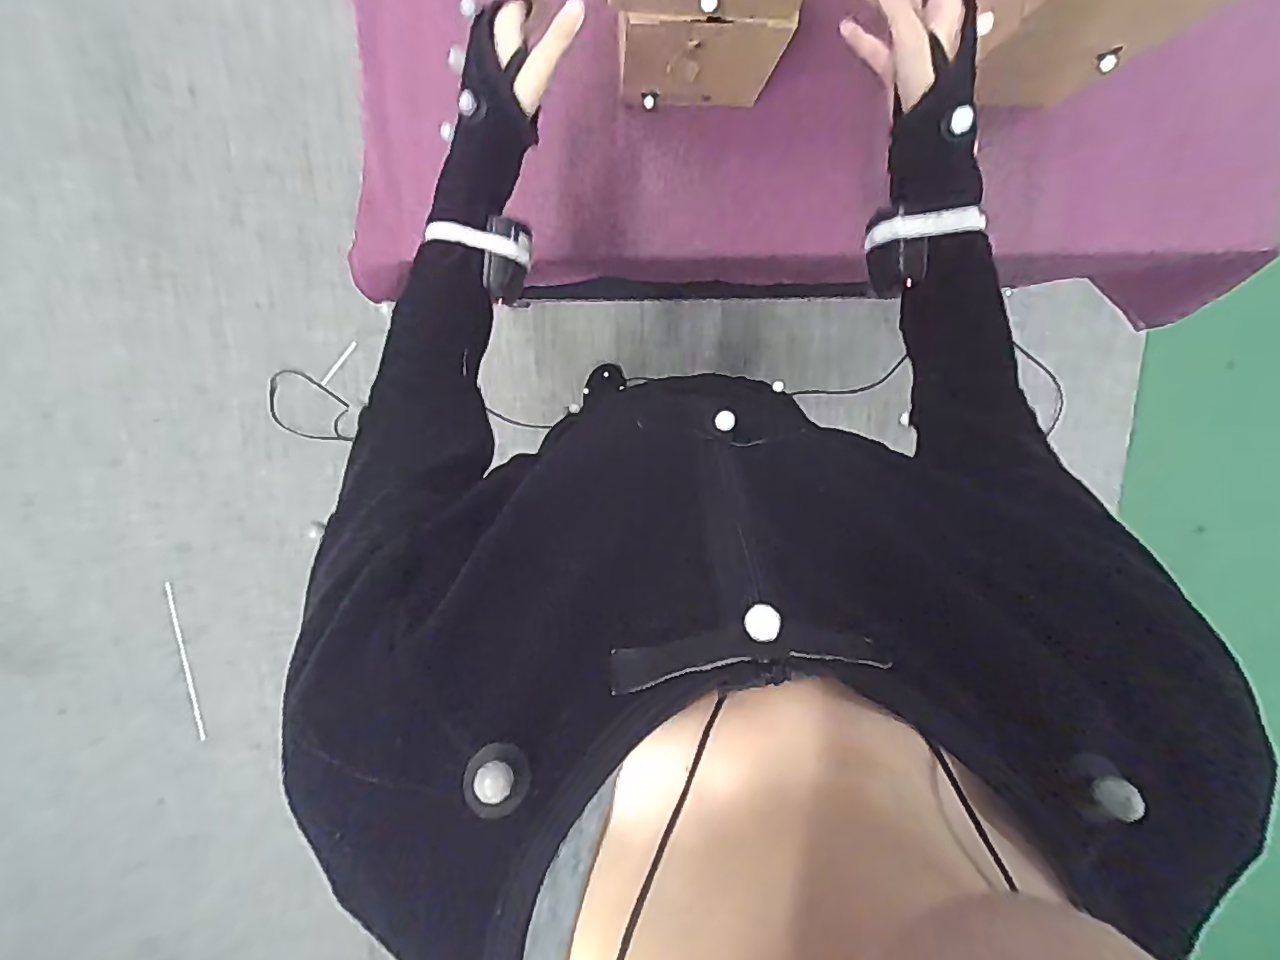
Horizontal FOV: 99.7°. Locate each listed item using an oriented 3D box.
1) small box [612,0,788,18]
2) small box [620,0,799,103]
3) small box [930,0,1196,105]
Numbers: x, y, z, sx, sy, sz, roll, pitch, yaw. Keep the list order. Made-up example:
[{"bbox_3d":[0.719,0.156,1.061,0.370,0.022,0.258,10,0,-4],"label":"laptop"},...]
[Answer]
[{"bbox_3d":[0.065,-0.496,0.411,0.179,0.176,0.168,-1,101,-4],"label":"small box"},{"bbox_3d":[0.065,-0.531,0.572,0.168,0.176,0.179,-2,101,-4],"label":"small box"},{"bbox_3d":[0.458,-0.542,0.593,0.179,0.176,0.168,-1,101,-3],"label":"small box"}]
